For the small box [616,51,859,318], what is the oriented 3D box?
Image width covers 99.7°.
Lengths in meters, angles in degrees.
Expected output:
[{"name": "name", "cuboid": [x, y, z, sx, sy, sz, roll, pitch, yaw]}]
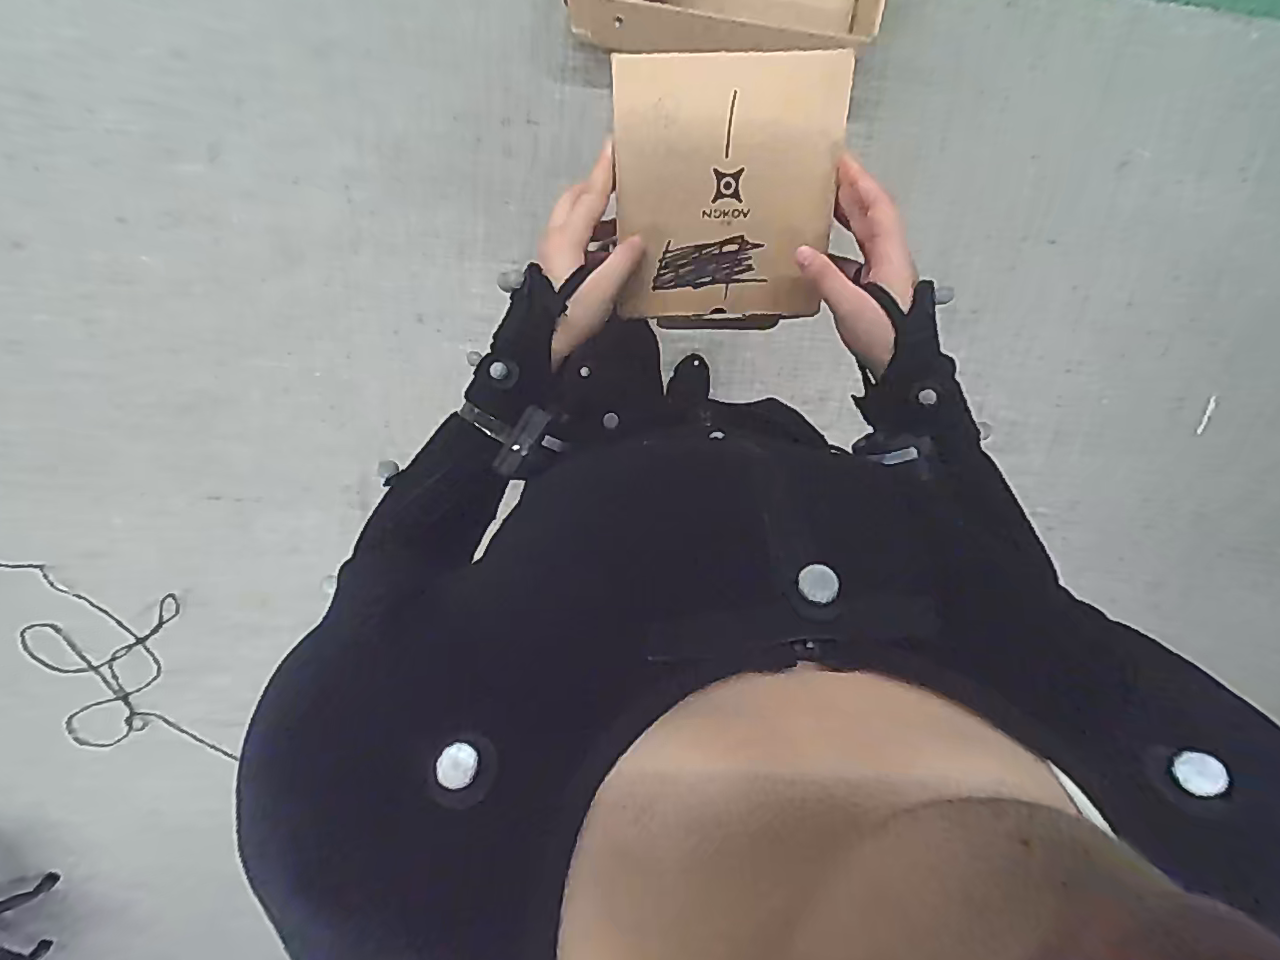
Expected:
[{"name": "small box", "cuboid": [0.065, -0.248, 0.471, 0.168, 0.176, 0.179, 0, 118, -1]}]
